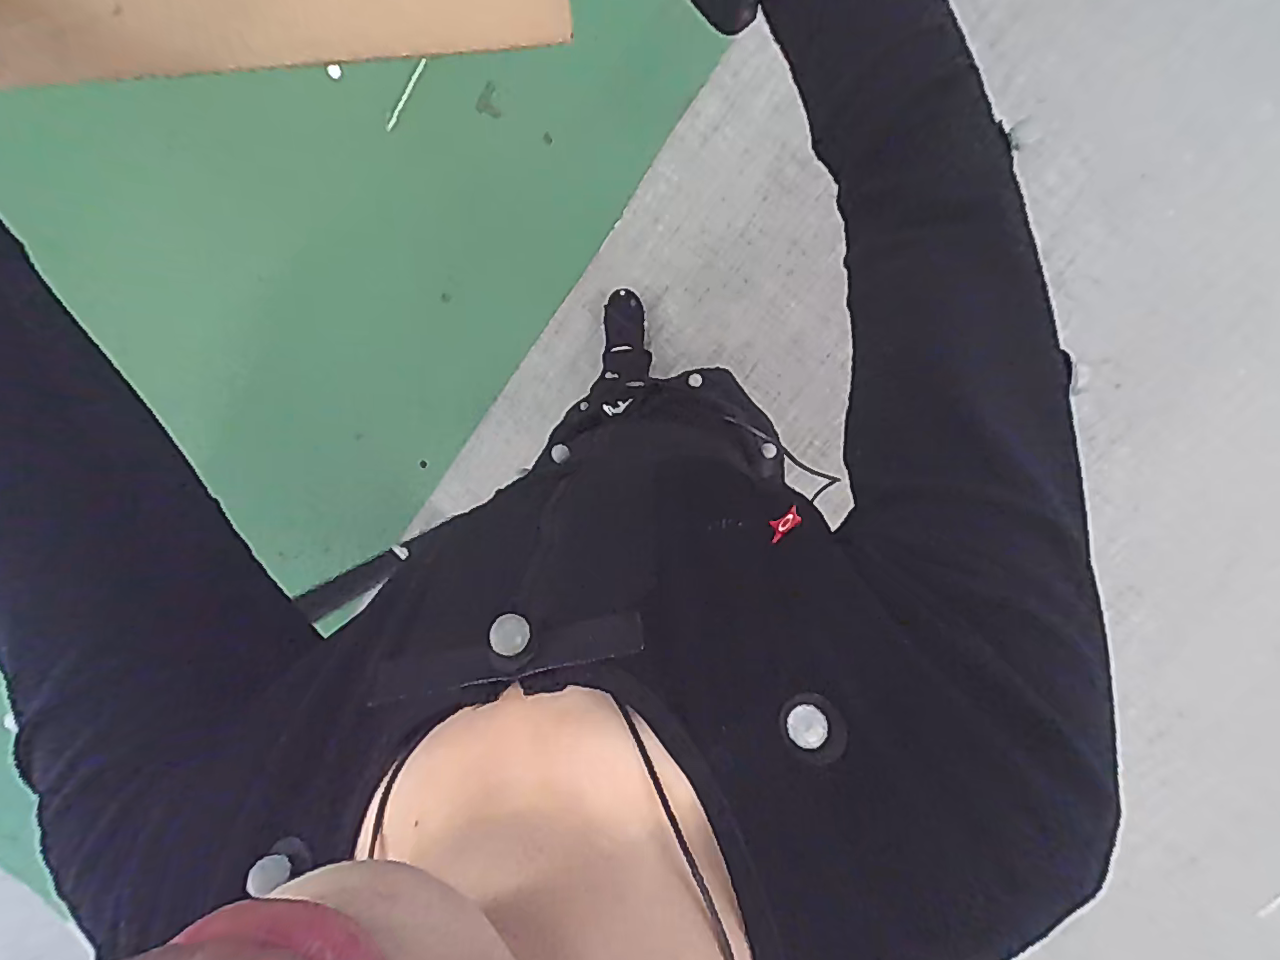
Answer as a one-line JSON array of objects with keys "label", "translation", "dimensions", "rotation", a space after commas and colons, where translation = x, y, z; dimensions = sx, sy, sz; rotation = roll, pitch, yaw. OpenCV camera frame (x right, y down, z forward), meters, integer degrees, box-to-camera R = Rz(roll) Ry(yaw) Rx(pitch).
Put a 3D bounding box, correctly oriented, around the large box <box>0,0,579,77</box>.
[{"label": "large box", "translation": [-0.266, -0.489, 0.361], "dimensions": [0.408, 0.320, 0.320], "rotation": [-8, 131, -5]}]
